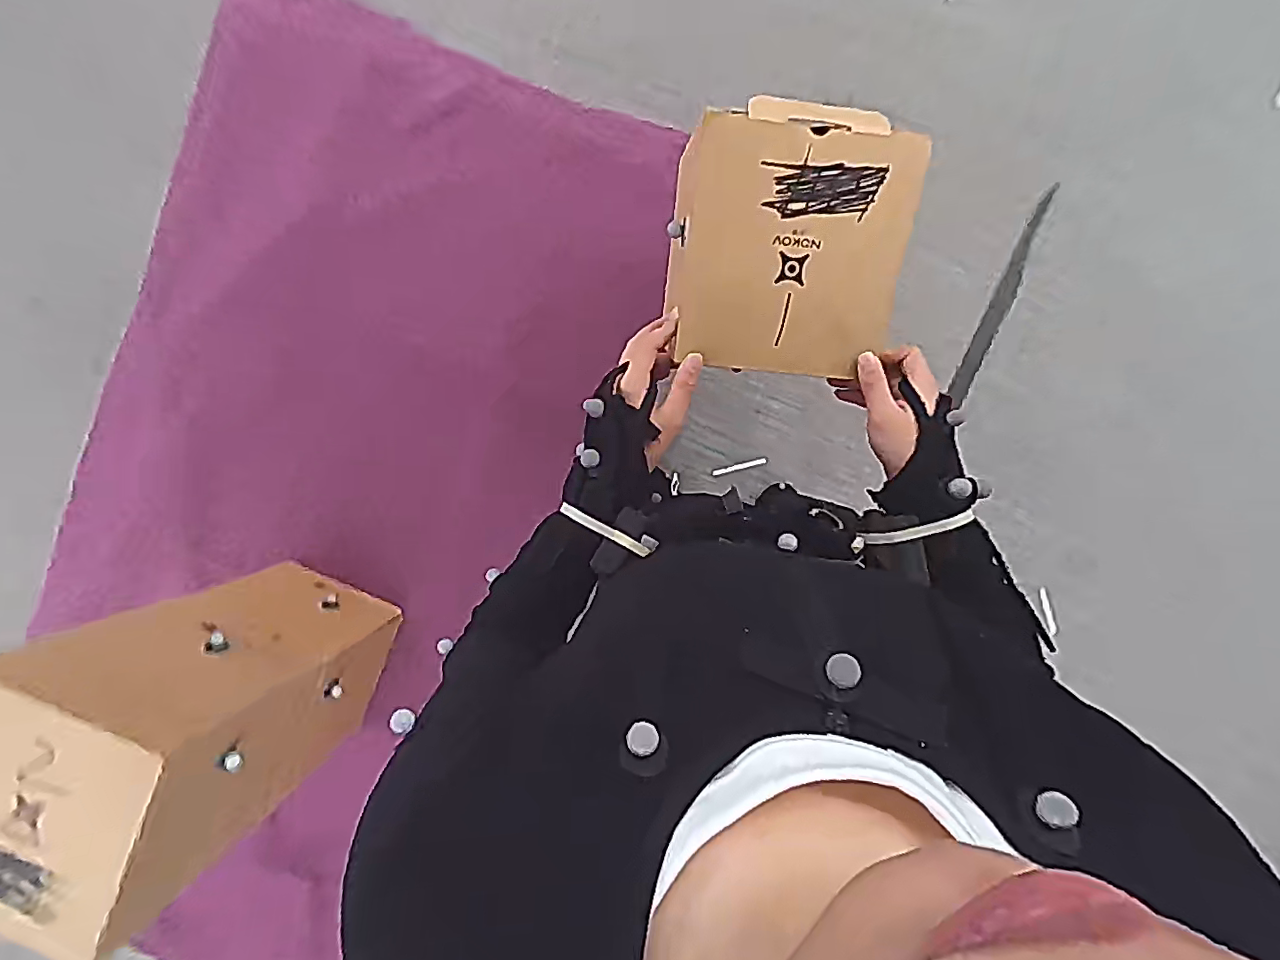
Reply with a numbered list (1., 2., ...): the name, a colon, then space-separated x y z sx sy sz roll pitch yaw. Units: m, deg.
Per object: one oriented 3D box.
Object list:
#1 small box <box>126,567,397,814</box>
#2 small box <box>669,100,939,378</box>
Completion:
1. small box: -0.411 0.222 0.618 0.168 0.176 0.179 22 94 1
2. small box: 0.120 -0.199 0.480 0.168 0.176 0.179 6 110 -3
